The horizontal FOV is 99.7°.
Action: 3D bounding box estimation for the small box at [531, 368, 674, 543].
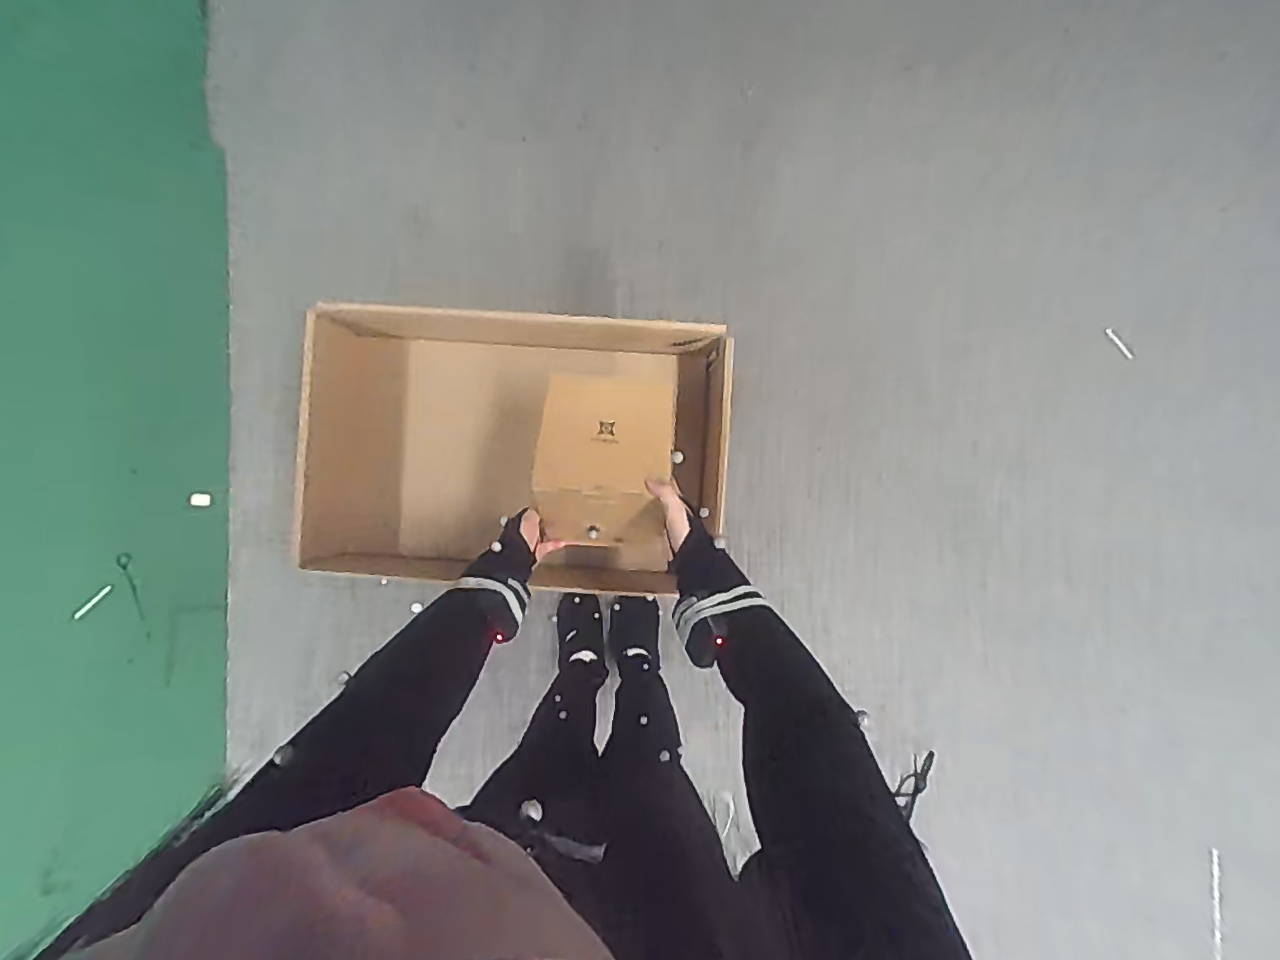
[{"bbox_3d":[-0.045,-0.030,0.751,0.168,0.176,0.179,4,62,1],"label":"small box"}]
